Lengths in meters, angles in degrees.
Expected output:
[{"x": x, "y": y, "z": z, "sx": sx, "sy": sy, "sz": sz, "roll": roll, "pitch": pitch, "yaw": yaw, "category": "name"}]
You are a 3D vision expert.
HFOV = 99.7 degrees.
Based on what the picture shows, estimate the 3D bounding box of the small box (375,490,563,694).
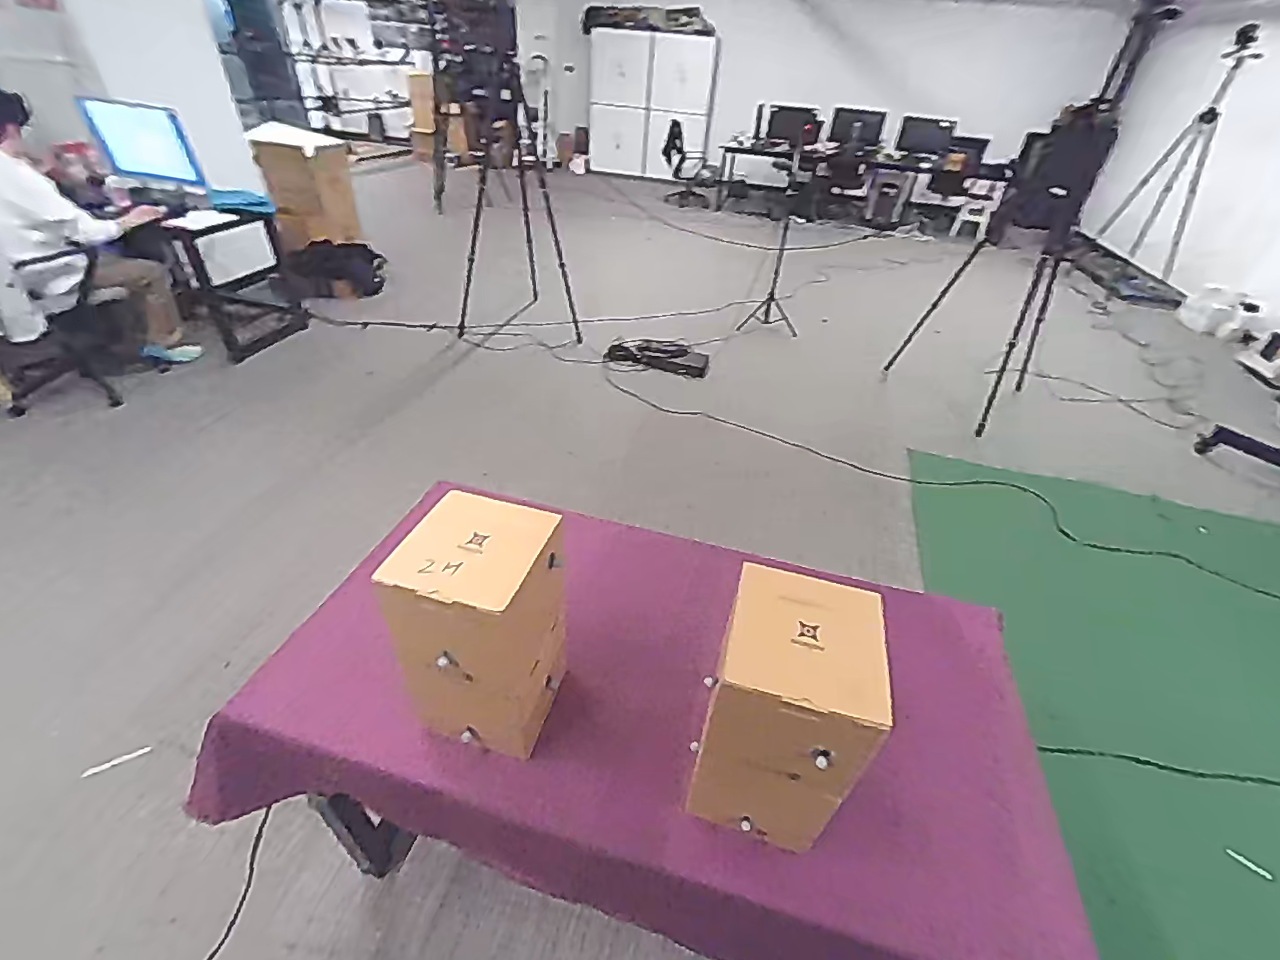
[{"x": -0.209, "y": 0.144, "z": 0.713, "sx": 0.168, "sy": 0.176, "sz": 0.179, "roll": 12, "pitch": 39, "yaw": 10, "category": "small box"}]

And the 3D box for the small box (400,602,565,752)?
[{"x": -0.222, "y": 0.278, "z": 0.811, "sx": 0.179, "sy": 0.176, "sz": 0.168, "roll": 12, "pitch": 38, "yaw": 8, "category": "small box"}]

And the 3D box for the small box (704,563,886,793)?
[{"x": 0.177, "y": 0.234, "z": 0.644, "sx": 0.168, "sy": 0.176, "sz": 0.179, "roll": 13, "pitch": 38, "yaw": 10, "category": "small box"}]
